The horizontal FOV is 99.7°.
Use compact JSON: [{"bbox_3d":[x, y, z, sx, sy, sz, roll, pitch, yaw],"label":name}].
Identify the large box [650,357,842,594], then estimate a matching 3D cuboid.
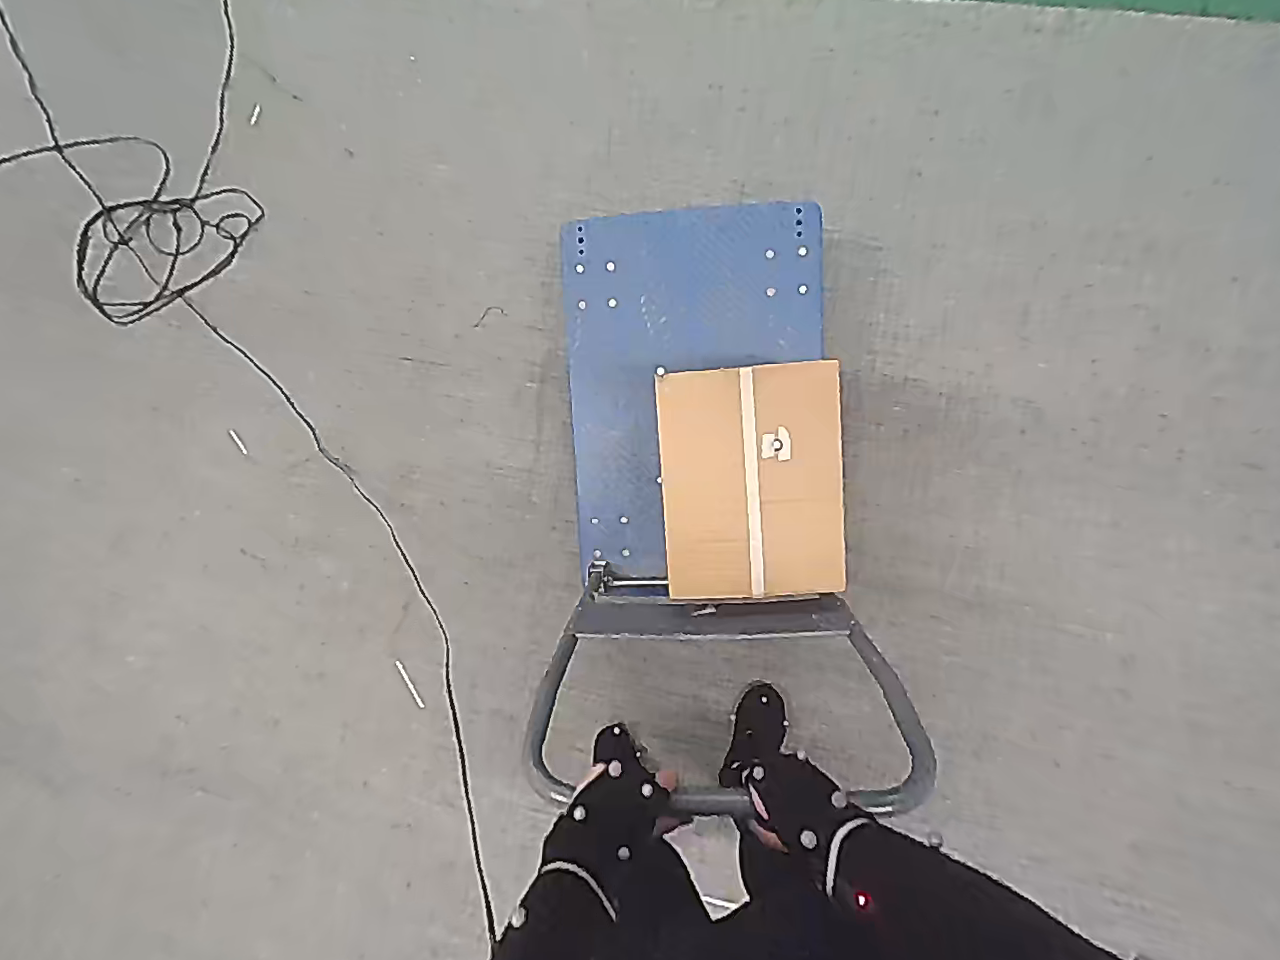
[{"bbox_3d":[0.200,-0.016,1.088,0.320,0.320,0.408,-4,96,5],"label":"large box"}]
